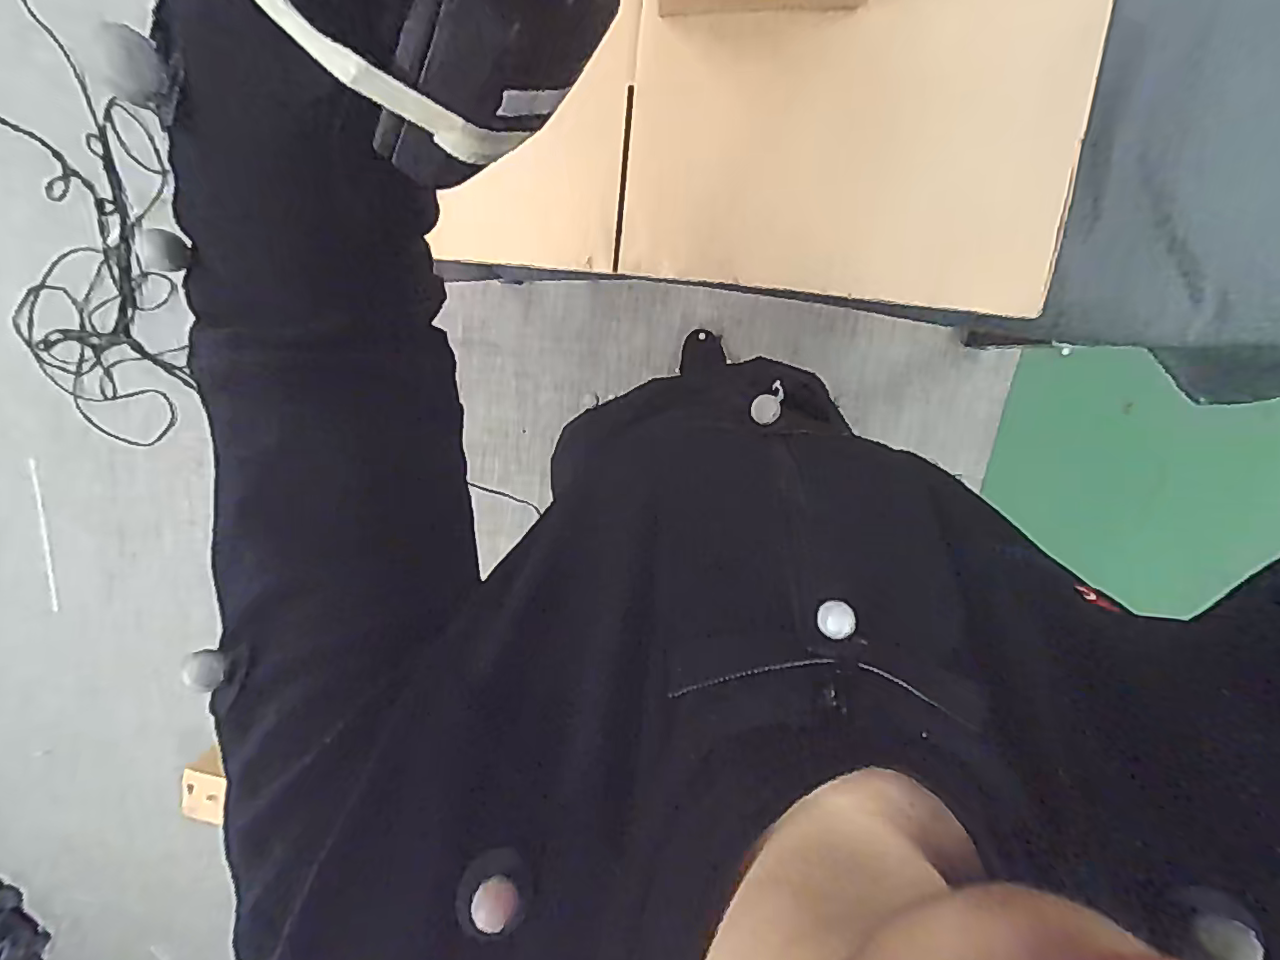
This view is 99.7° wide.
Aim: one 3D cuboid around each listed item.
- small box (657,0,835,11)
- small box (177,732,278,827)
[{"bbox_3d":[0.094,-0.454,0.353,0.179,0.176,0.168,-1,100,3],"label":"small box"},{"bbox_3d":[-1.204,0.873,1.589,0.179,0.176,0.168,11,103,0],"label":"small box"}]
